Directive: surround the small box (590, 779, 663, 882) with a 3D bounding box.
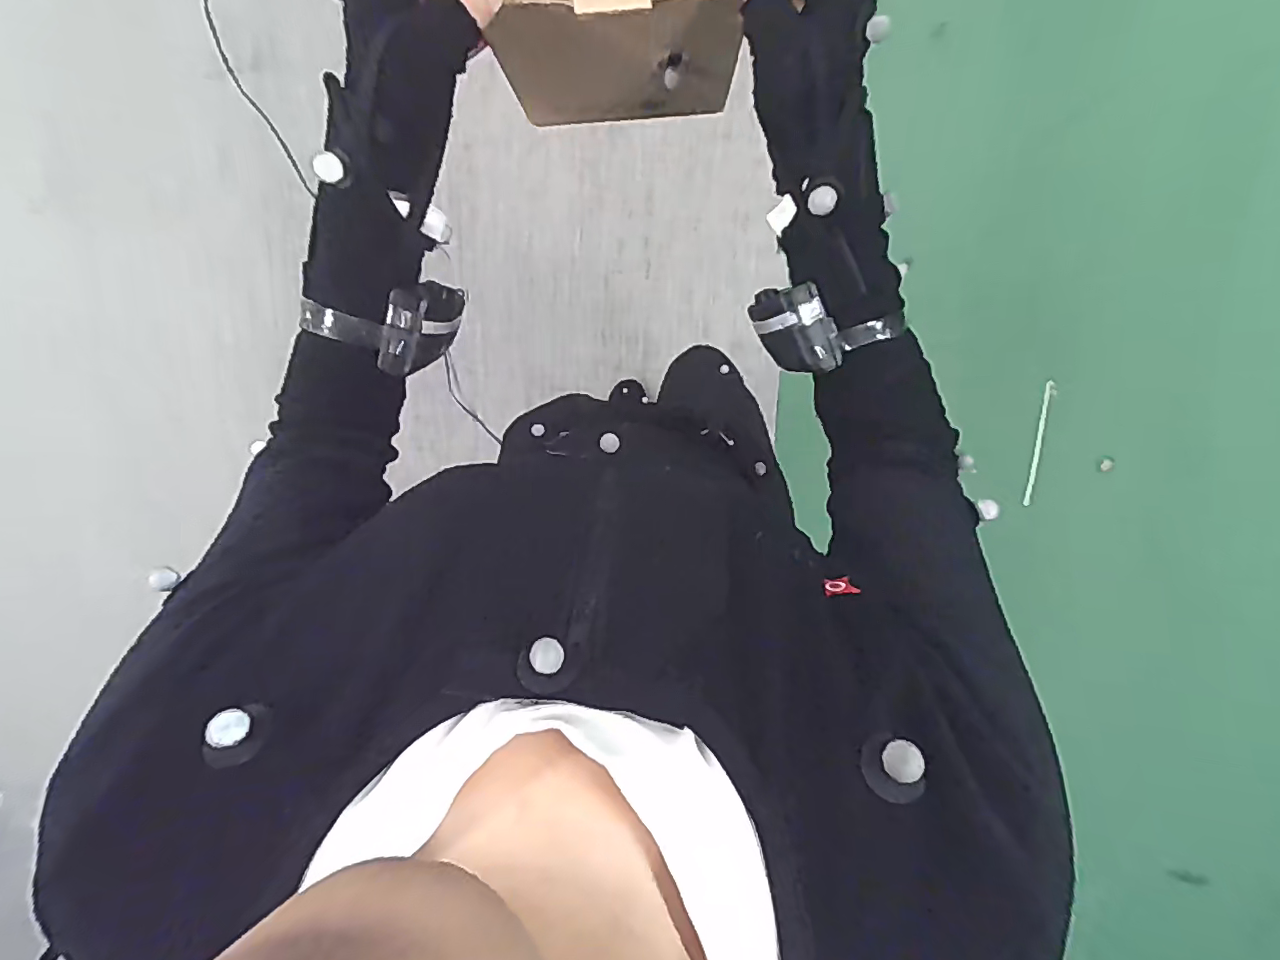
[{"bbox_3d":[-0.036,0.977,1.525,0.168,0.176,0.179,-14,102,5],"label":"small box"}]

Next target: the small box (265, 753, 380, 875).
[{"bbox_3d":[-0.732,0.769,1.262,0.179,0.176,0.168,9,101,1],"label":"small box"}]
